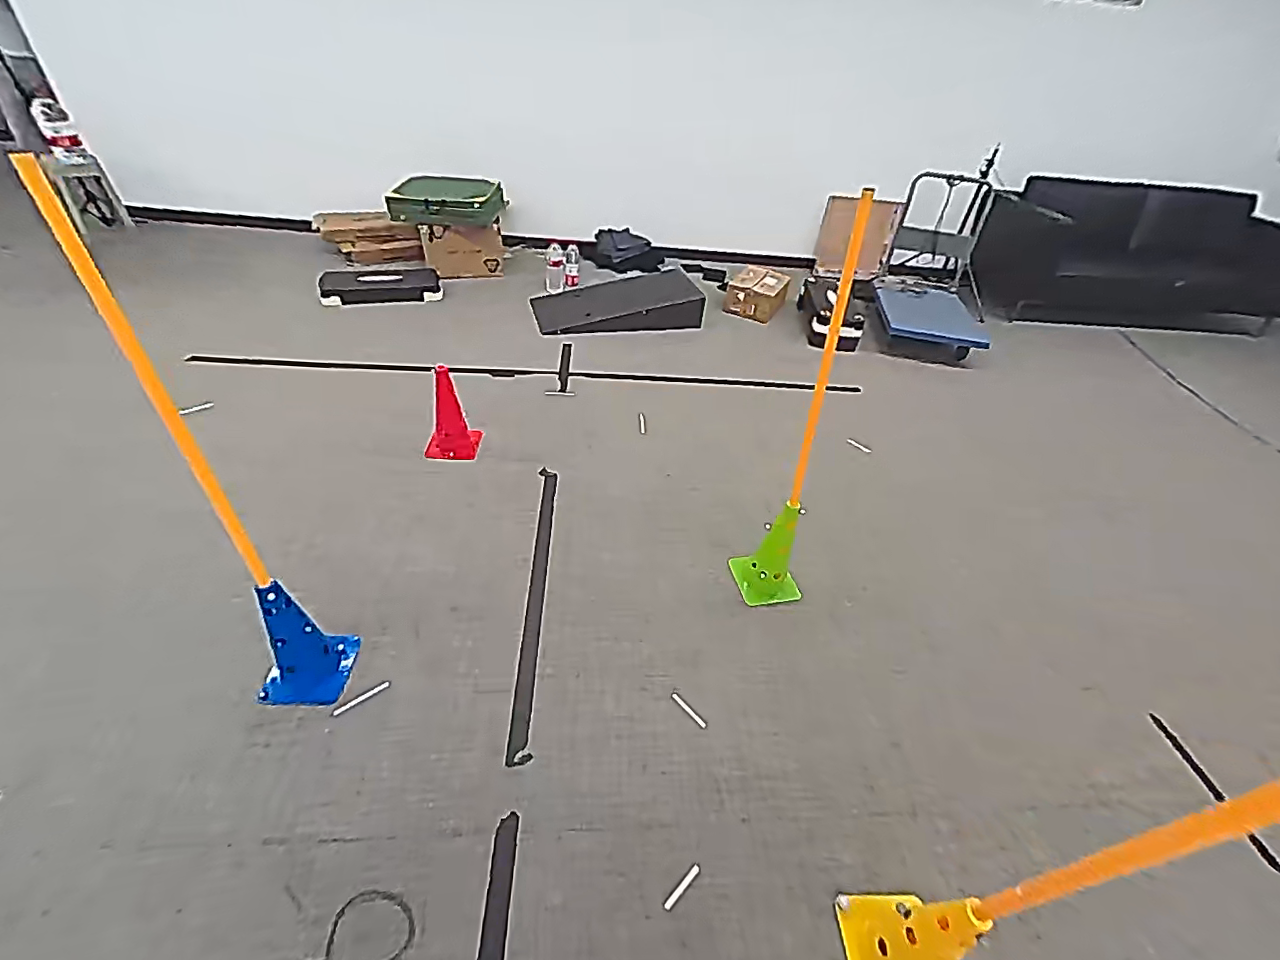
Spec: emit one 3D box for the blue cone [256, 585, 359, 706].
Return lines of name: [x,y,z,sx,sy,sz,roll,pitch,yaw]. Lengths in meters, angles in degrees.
blue cone: [-0.857,0.383,1.338,0.193,0.380,0.192,4,40,-3]

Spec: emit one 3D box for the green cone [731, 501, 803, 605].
green cone: [0.442,0.204,1.718,0.200,0.368,0.202,-5,43,-13]
